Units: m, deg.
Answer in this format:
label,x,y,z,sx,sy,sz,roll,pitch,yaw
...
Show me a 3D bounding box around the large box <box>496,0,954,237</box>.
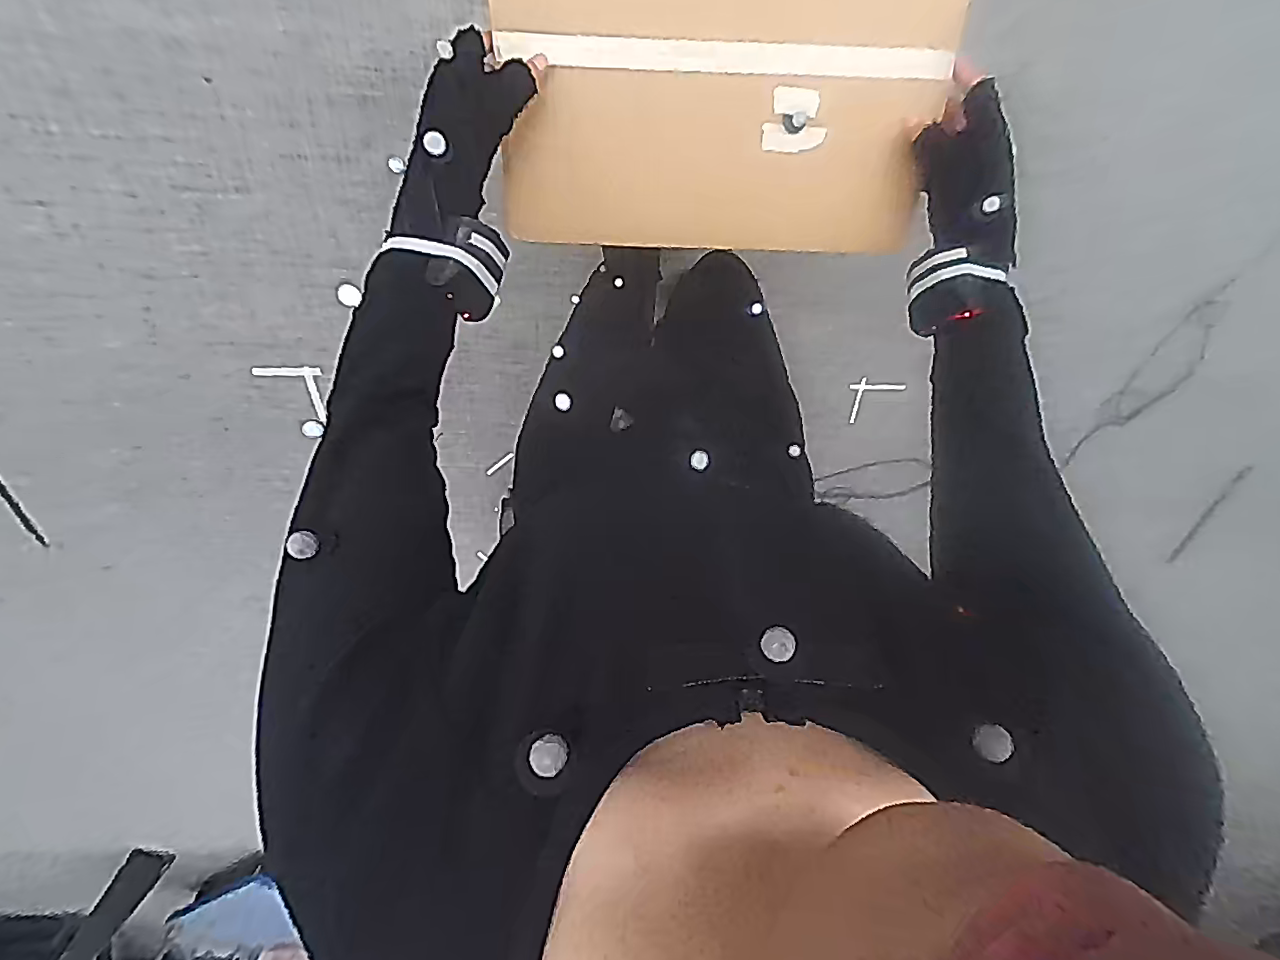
label,x,y,z,sx,sy,sz,roll,pitch,yaw
large box,0.068,-0.463,0.610,0.408,0.320,0.320,0,122,-3
